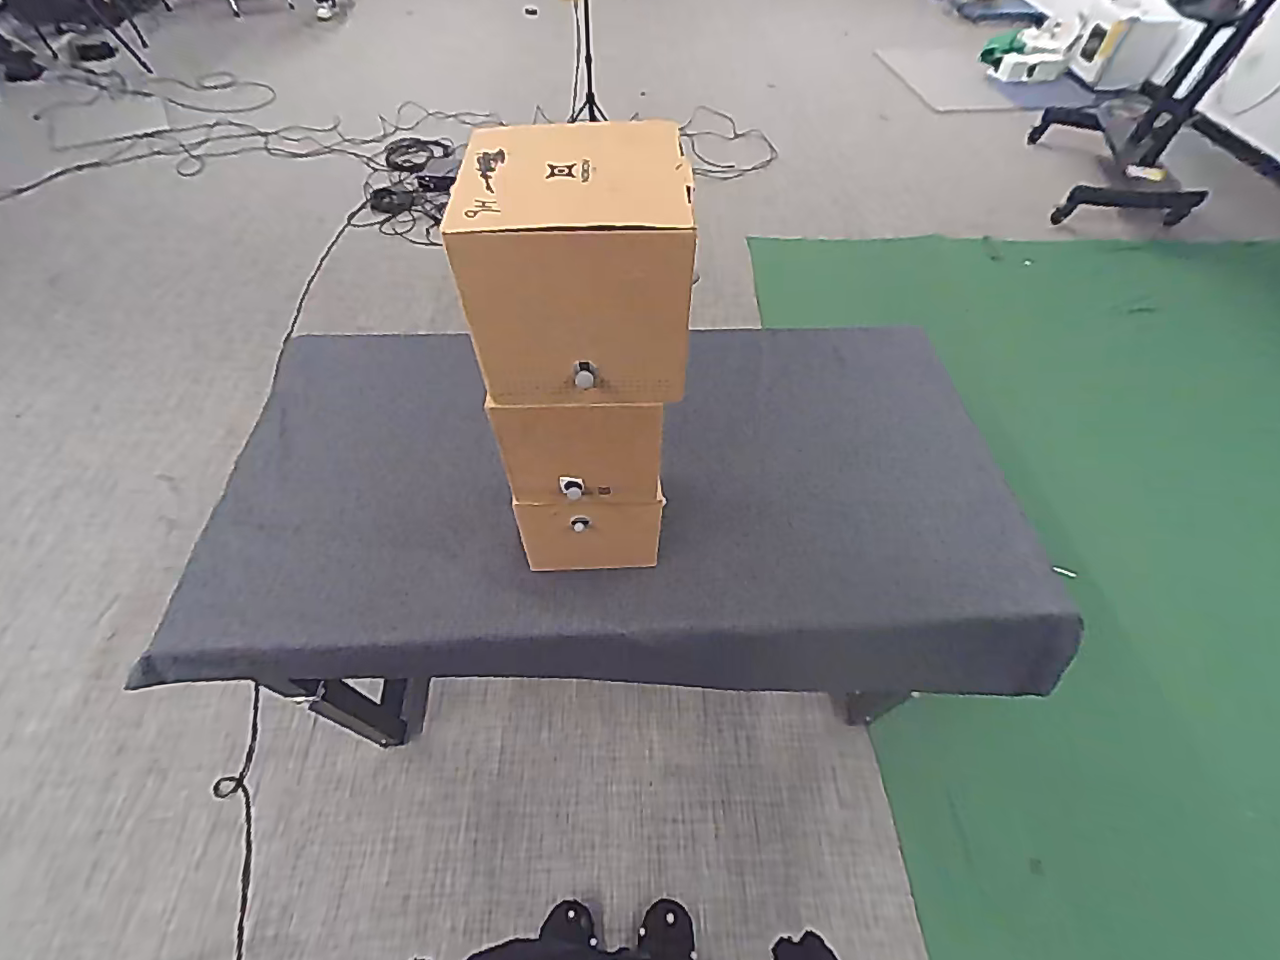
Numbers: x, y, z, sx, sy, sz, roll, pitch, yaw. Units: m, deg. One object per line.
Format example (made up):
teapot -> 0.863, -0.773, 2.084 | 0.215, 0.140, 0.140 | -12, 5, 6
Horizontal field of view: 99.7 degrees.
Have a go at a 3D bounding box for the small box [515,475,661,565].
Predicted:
small box -> -0.066, 0.008, 0.748 | 0.179, 0.176, 0.168 | -1, 54, -4

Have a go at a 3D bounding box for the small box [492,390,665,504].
small box -> -0.061, -0.090, 0.619 | 0.168, 0.176, 0.179 | -2, 55, -1

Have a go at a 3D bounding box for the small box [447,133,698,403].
small box -> -0.050, -0.182, 0.484 | 0.179, 0.176, 0.168 | -1, 53, -2
